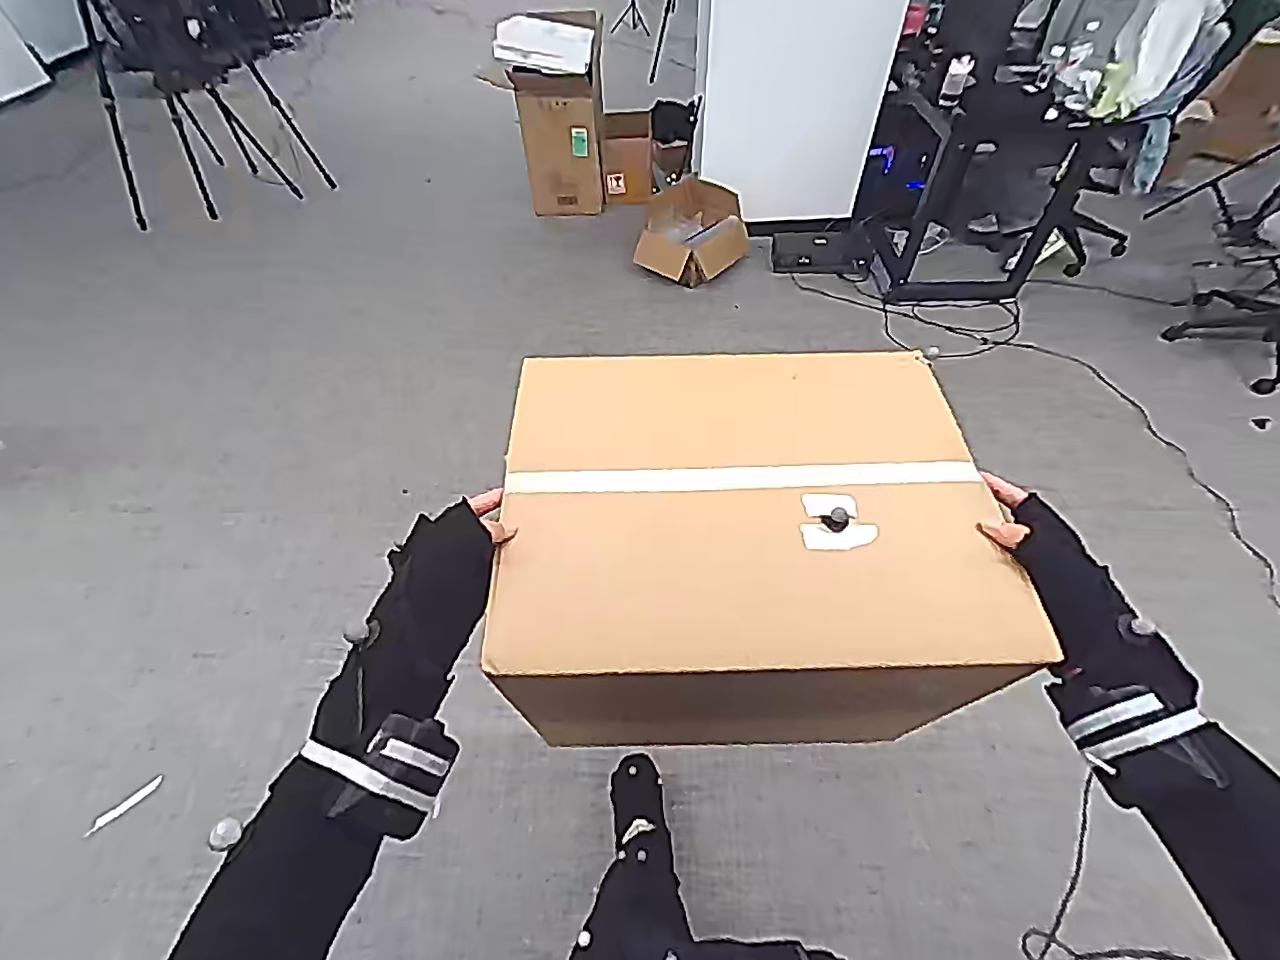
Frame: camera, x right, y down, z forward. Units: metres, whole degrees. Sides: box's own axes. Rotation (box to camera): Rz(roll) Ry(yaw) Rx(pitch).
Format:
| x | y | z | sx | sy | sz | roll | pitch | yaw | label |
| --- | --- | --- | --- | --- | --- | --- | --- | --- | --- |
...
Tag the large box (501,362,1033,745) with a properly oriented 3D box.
| x | y | z | sx | sy | sz | roll | pitch | yaw | label |
| --- | --- | --- | --- | --- | --- | --- | --- | --- | --- |
| 0.088 | 0.092 | 0.600 | 0.408 | 0.320 | 0.320 | -1 | 55 | -1 | large box |
